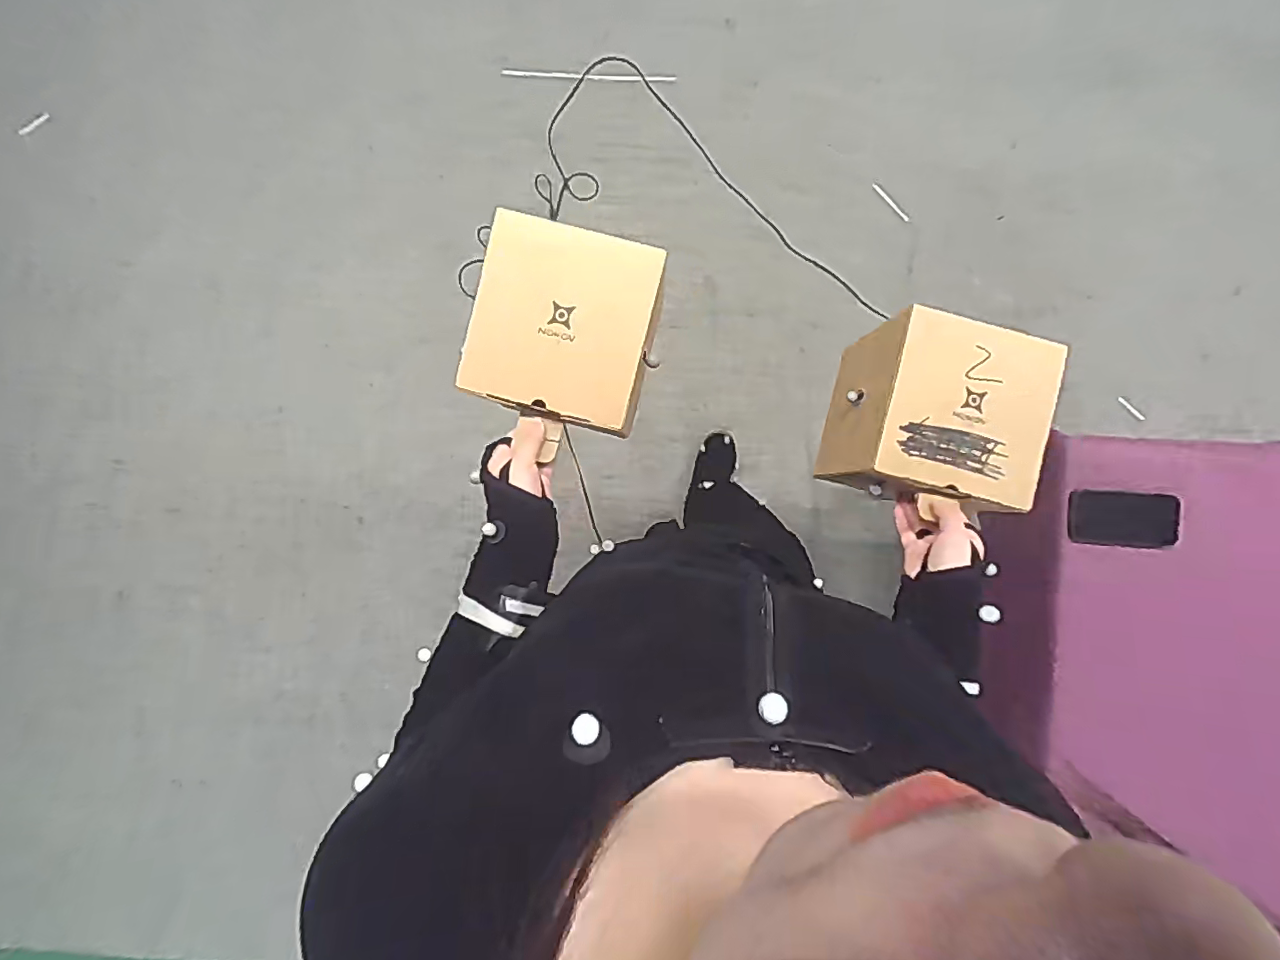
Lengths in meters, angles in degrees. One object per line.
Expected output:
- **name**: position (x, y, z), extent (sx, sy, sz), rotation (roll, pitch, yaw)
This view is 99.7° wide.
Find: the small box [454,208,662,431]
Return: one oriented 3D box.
- **small box**: position (-0.079, -0.158, 0.594), extent (0.168, 0.176, 0.179), rotation (14, 94, 0)
